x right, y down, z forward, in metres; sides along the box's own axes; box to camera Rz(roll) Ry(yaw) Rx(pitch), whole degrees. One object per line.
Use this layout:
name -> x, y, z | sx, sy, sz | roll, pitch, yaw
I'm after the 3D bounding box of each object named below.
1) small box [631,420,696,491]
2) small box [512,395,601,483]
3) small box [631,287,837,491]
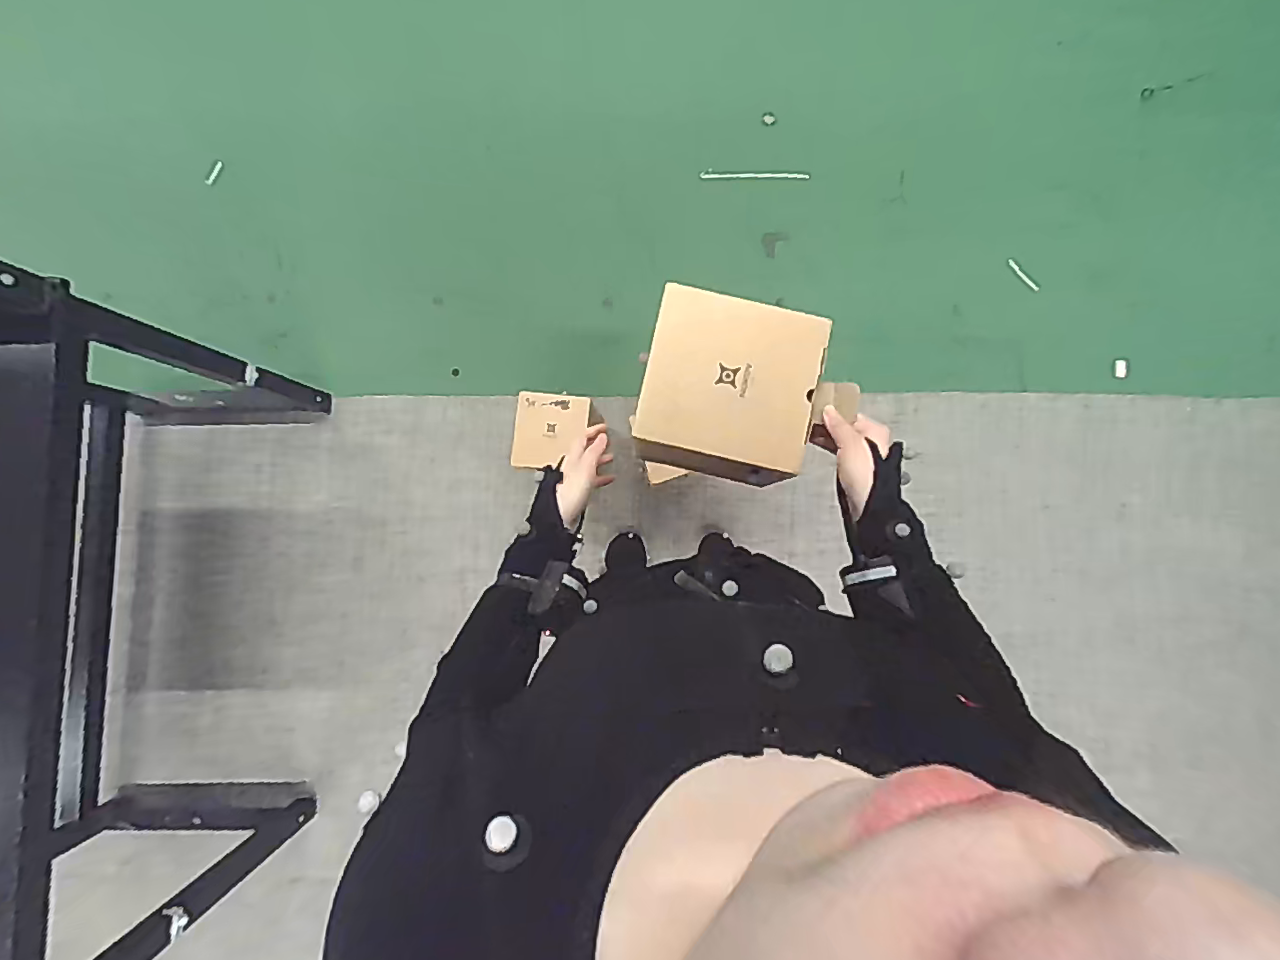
small box -> 0.088, -0.078, 1.271 | 0.179, 0.176, 0.168 | -20, 87, -1
small box -> -0.190, -0.089, 1.279 | 0.168, 0.176, 0.179 | 6, 86, 3
small box -> 0.093, -0.088, 0.609 | 0.179, 0.176, 0.168 | 14, 84, 1
